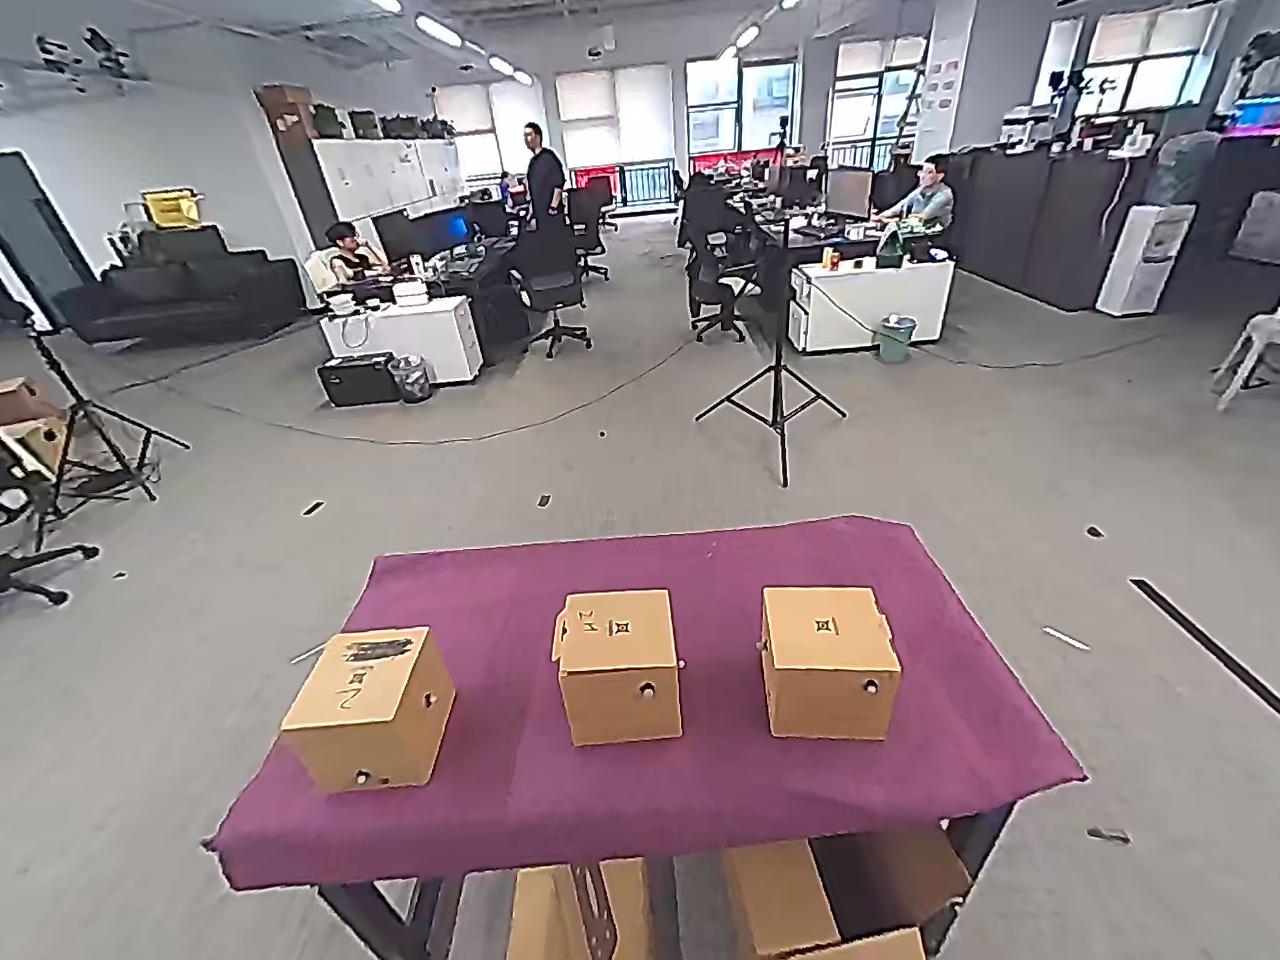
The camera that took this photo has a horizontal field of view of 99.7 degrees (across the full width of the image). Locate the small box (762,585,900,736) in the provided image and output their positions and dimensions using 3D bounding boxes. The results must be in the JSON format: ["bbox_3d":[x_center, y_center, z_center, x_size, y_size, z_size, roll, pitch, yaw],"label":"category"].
[{"bbox_3d":[0.291,0.287,0.864,0.179,0.176,0.168,-2,32,7],"label":"small box"}]

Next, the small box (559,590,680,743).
[{"bbox_3d":[-0.027,0.304,0.888,0.179,0.176,0.168,-6,30,1],"label":"small box"}]
